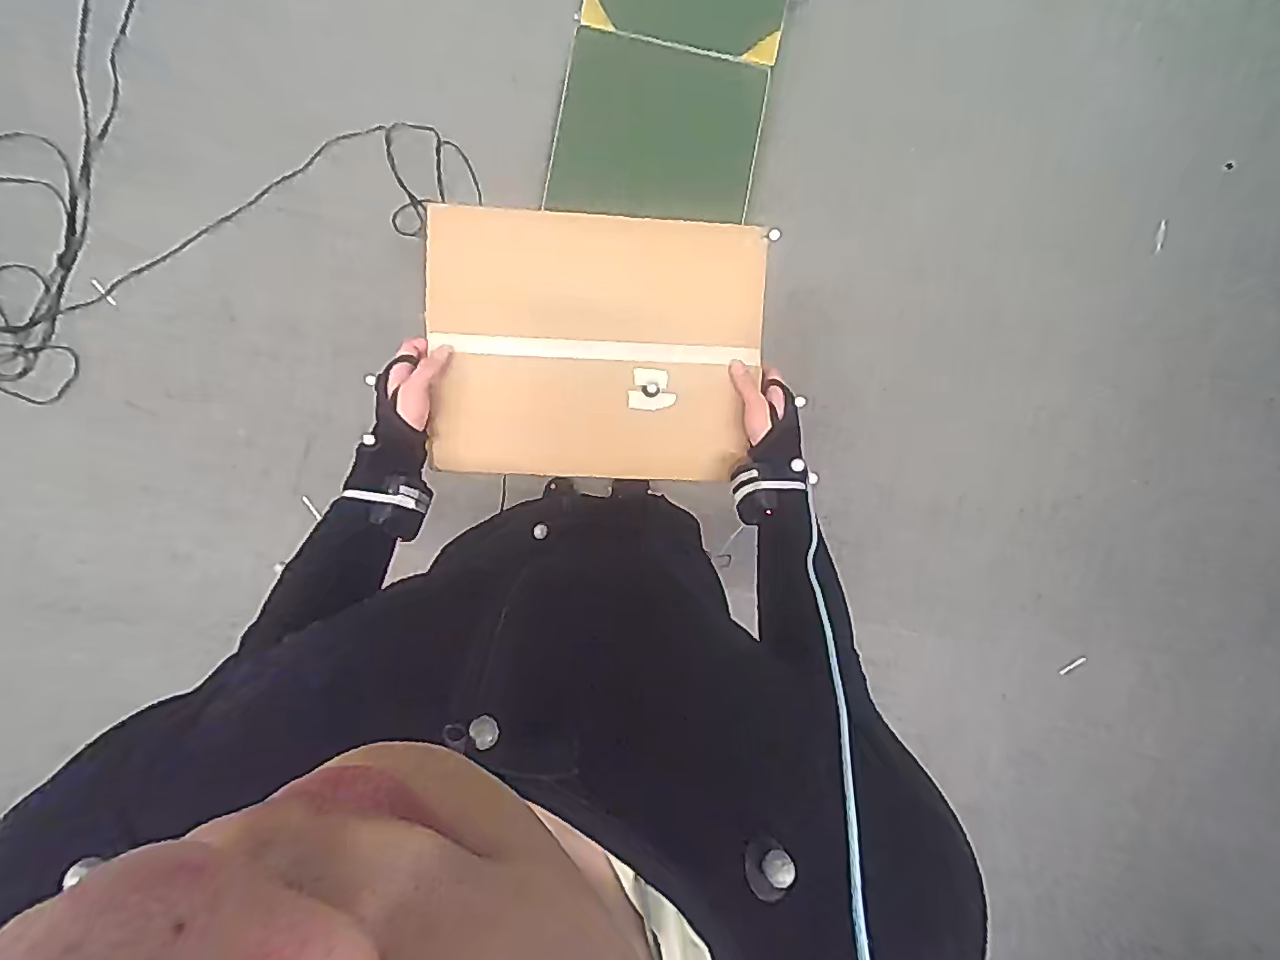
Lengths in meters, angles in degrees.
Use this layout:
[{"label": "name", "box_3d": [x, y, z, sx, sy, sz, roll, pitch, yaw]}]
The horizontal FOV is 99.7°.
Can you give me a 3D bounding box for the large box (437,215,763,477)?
[{"label": "large box", "box_3d": [-0.061, -0.174, 0.819, 0.408, 0.320, 0.320, 2, 97, -5]}]
